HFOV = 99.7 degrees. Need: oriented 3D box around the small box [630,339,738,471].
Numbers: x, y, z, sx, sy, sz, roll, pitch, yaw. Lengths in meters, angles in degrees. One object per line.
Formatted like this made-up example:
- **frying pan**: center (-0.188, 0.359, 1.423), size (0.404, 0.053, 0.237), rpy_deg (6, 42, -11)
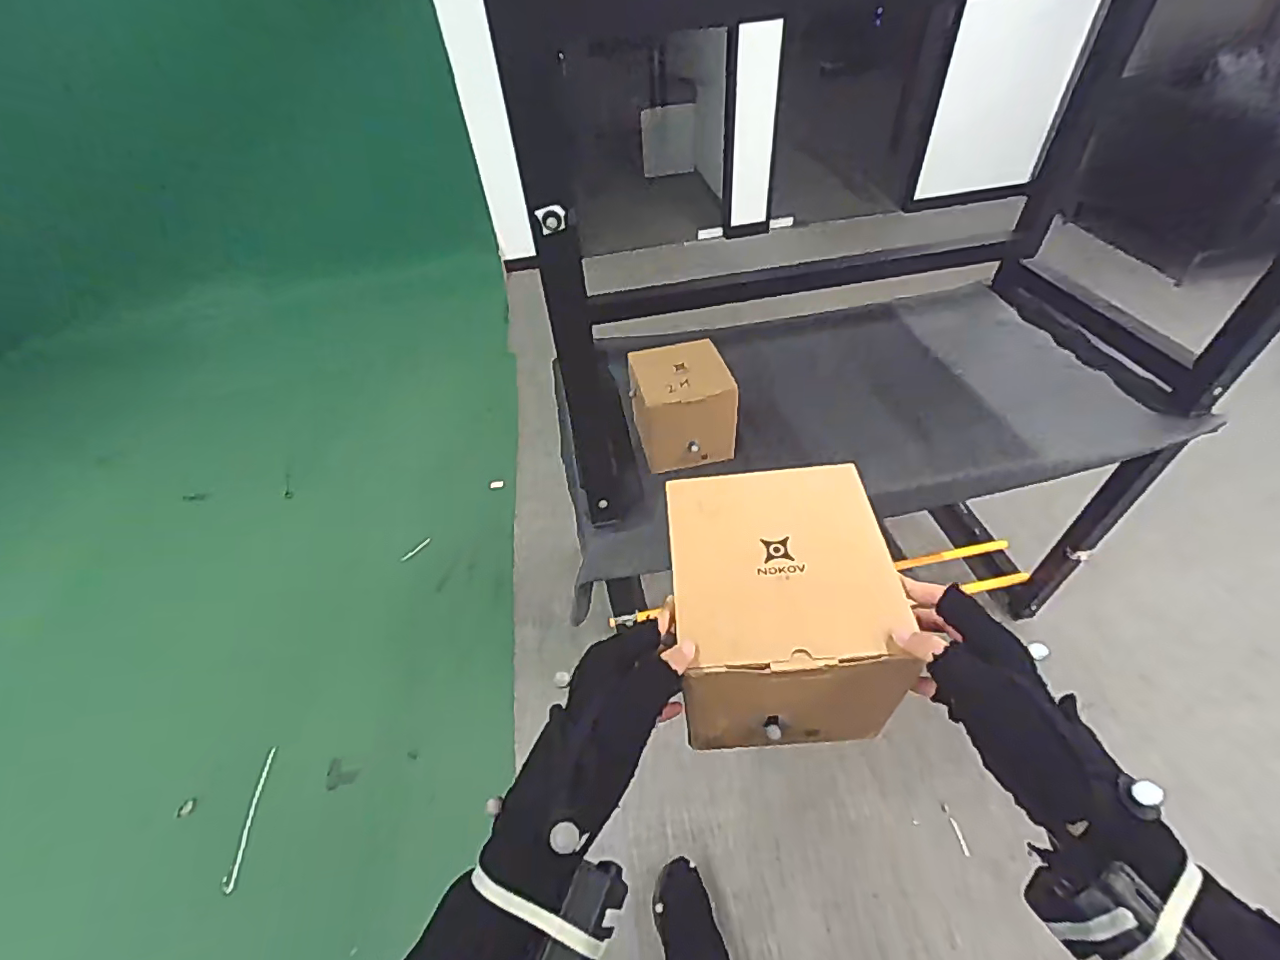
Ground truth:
- **small box**: center (0.079, -0.144, 1.040), size (0.168, 0.176, 0.179), rpy_deg (-12, 46, -5)
